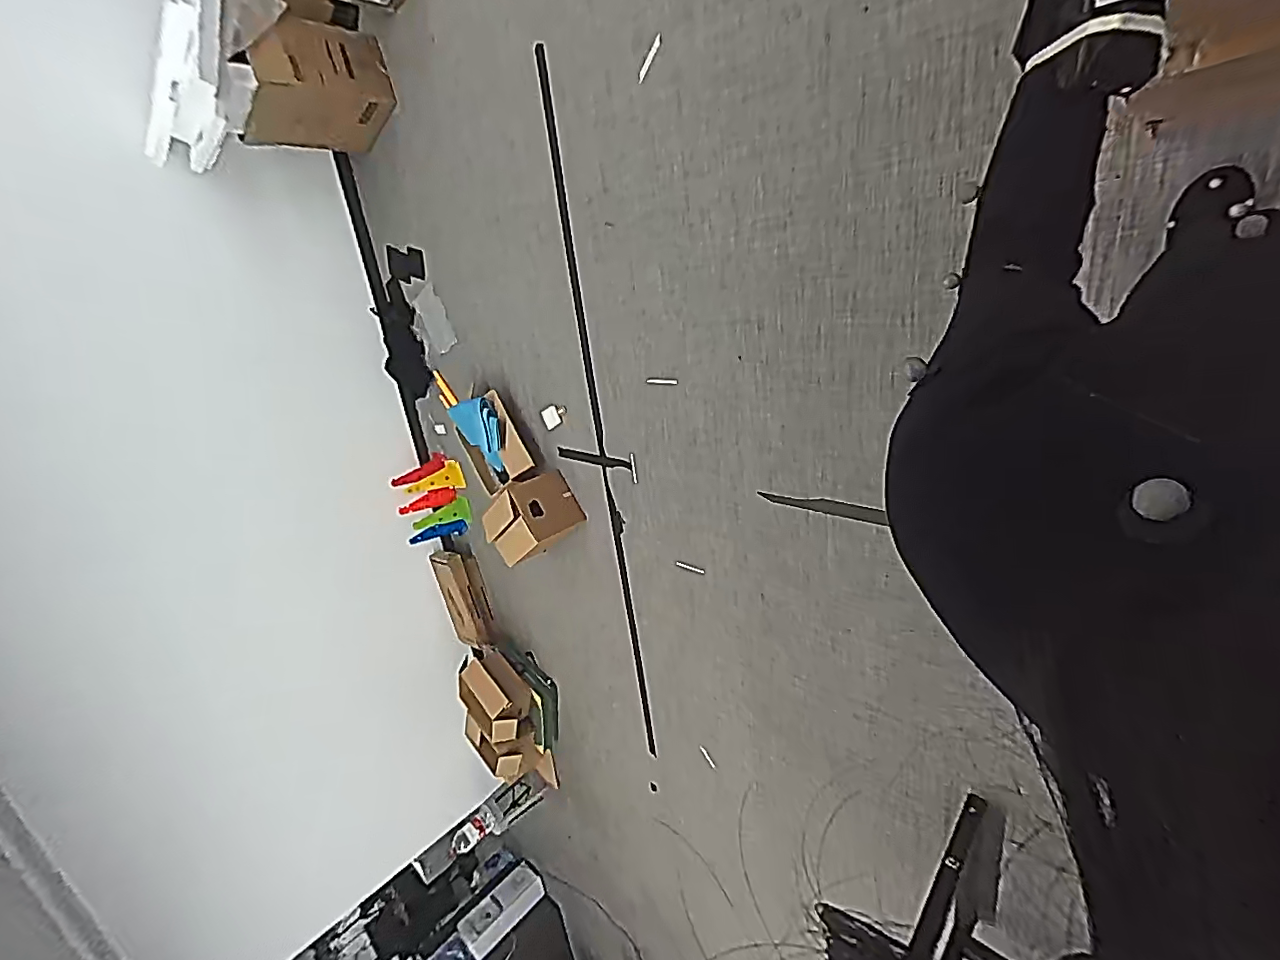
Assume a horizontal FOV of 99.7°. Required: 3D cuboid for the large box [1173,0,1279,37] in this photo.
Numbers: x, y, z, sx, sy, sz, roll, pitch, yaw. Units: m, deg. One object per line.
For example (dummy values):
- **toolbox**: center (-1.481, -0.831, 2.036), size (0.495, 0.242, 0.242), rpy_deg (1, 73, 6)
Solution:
- **large box**: center (0.583, -0.520, 0.284), size (0.408, 0.320, 0.320), rpy_deg (13, 120, 42)
